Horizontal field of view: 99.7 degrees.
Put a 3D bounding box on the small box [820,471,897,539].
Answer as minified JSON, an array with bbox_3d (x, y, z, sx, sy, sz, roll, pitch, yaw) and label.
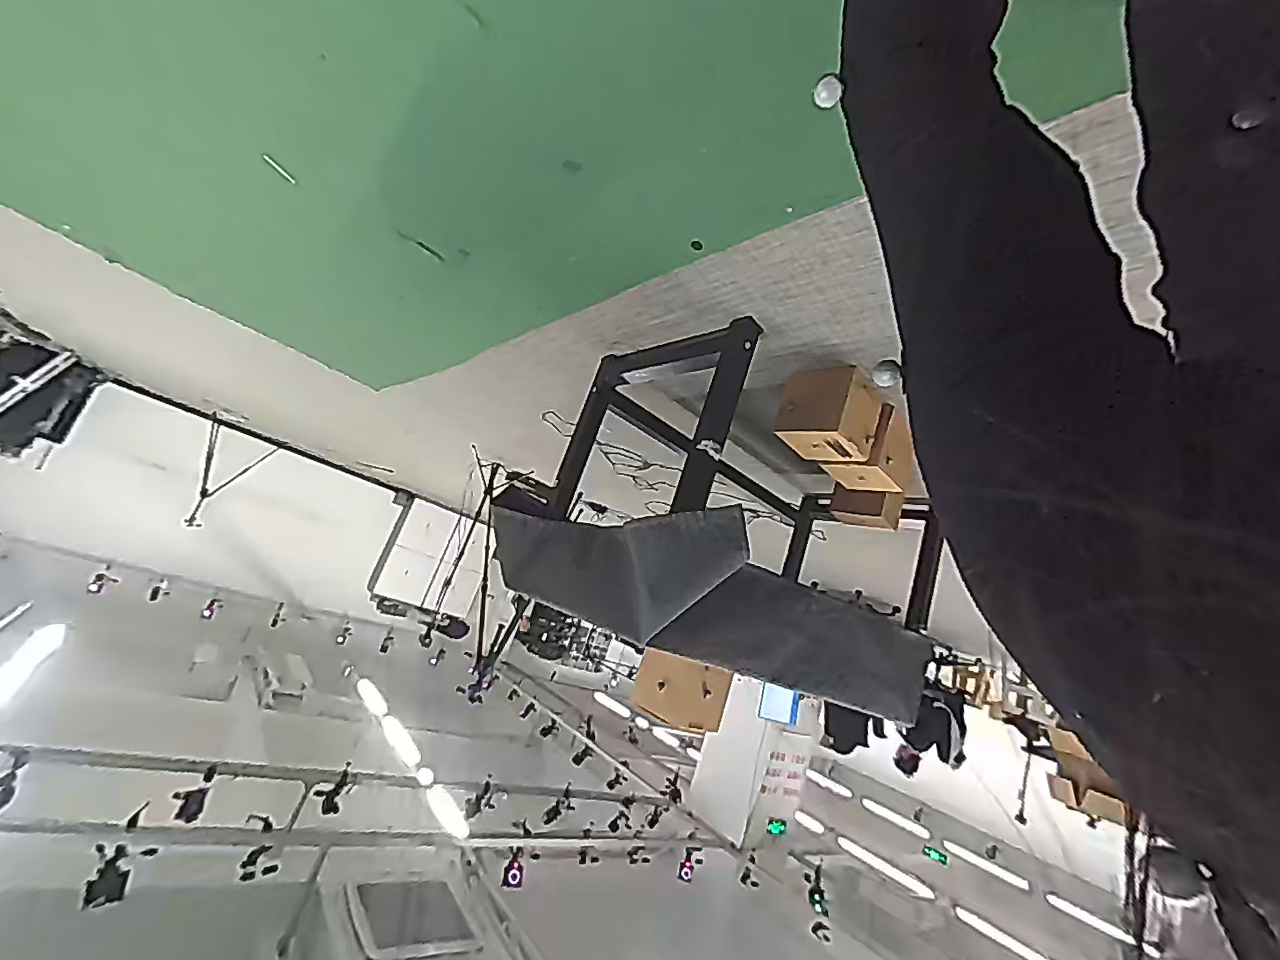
[{"bbox_3d":[0.732,0.079,1.803,0.179,0.176,0.168,7,162,43],"label":"small box"}]

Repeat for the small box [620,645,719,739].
[{"bbox_3d":[0.081,0.528,1.361,0.168,0.176,0.179,29,163,-34],"label":"small box"}]
